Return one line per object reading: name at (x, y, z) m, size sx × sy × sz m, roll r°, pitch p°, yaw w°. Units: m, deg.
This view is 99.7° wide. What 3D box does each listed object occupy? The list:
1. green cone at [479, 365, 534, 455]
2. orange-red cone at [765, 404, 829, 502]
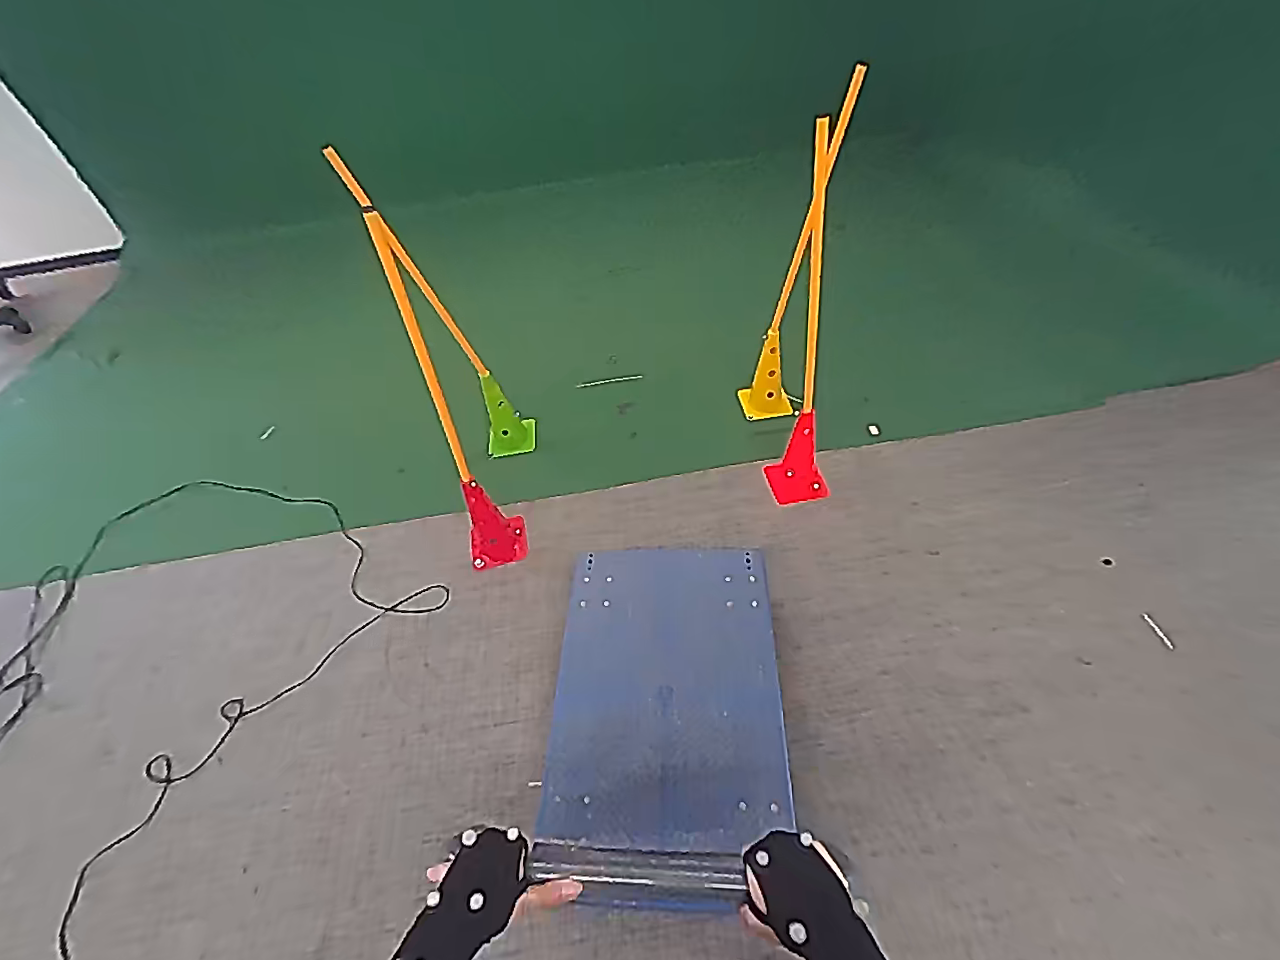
green cone at (-0.571, -0.302, 2.186) m, size 0.200 × 0.368 × 0.202 m, roll -10°, pitch 47°, yaw 0°
orange-red cone at (0.564, -0.118, 1.877) m, size 0.198 × 0.360 × 0.199 m, roll -9°, pitch 47°, yaw -1°
